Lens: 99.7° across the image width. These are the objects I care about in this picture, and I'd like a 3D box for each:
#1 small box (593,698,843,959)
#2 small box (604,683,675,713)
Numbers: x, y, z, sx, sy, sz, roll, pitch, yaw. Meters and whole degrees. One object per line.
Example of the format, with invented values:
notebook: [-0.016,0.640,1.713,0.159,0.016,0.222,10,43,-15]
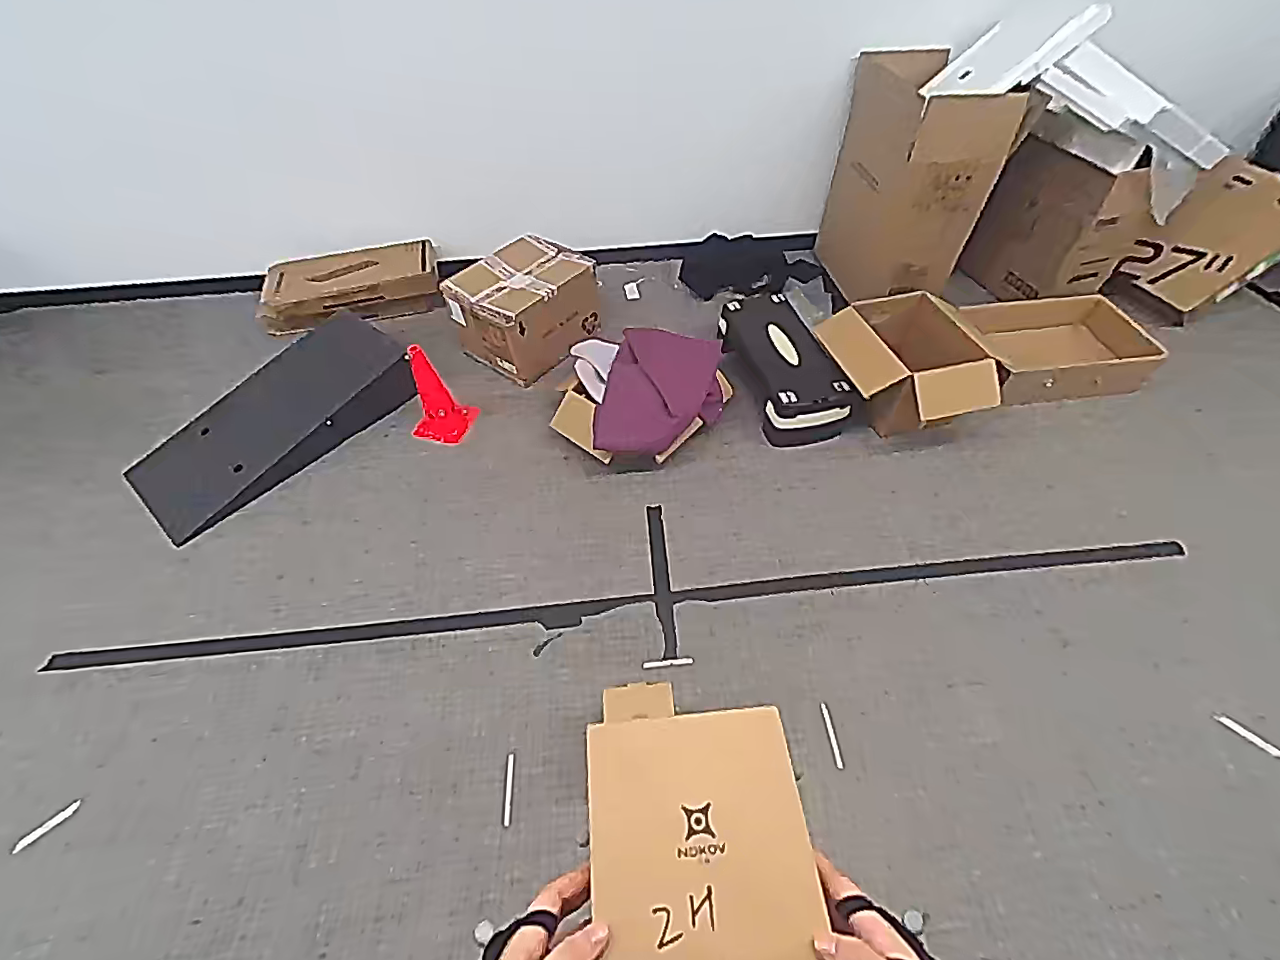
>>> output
small box: [0.049,0.311,0.469,0.168,0.176,0.179,-6,50,-2]
small box: [0.003,0.603,1.288,0.168,0.176,0.179,-5,52,-1]
